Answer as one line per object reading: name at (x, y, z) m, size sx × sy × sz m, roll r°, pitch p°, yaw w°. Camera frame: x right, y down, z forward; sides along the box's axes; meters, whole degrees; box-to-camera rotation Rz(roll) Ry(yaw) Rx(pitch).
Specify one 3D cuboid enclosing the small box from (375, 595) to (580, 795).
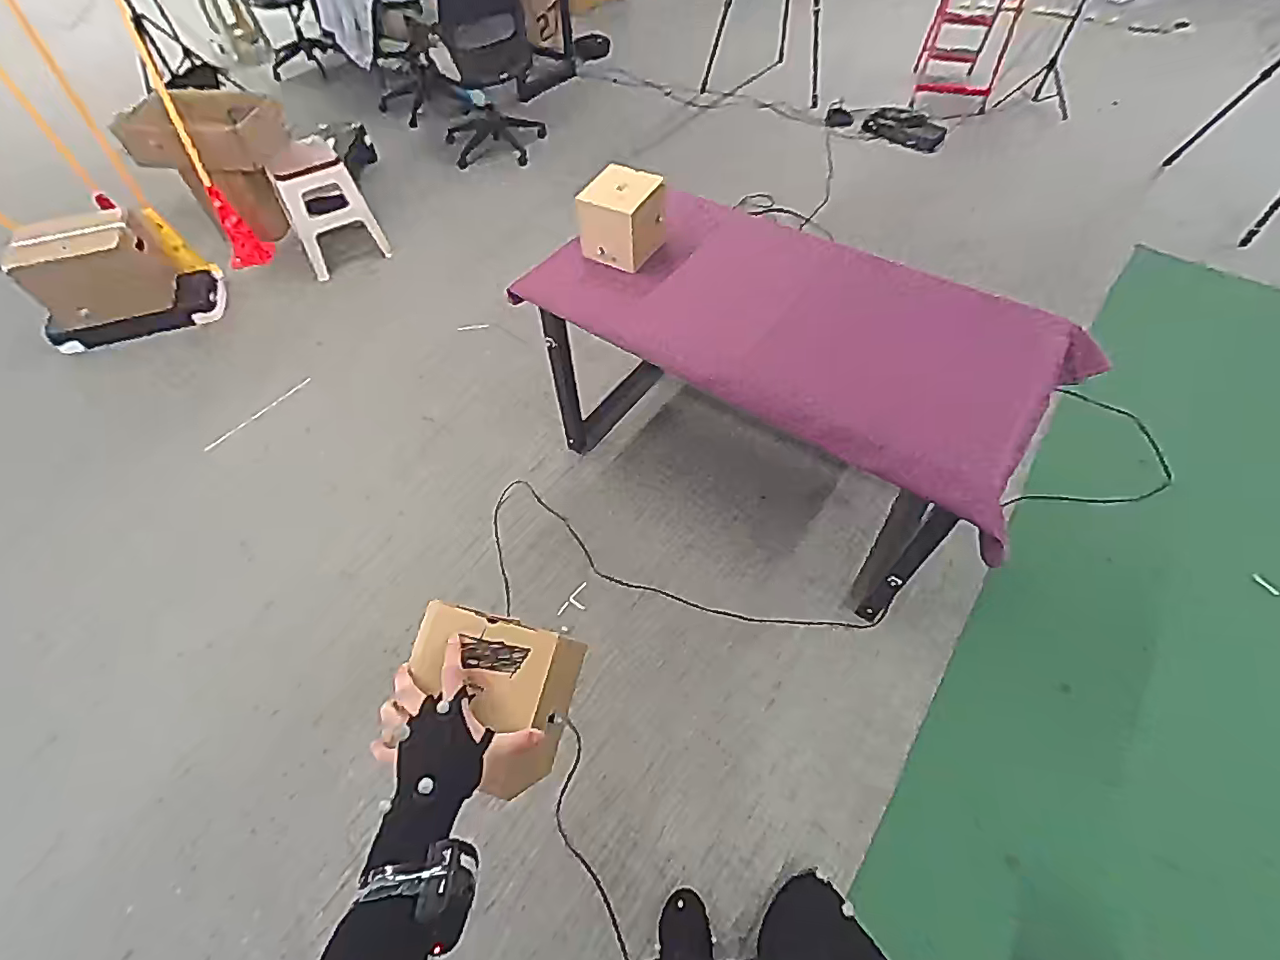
small box at (-0.185, 0.259, 0.681) m, size 0.168 × 0.176 × 0.179 m, roll 13°, pitch 74°, yaw 12°

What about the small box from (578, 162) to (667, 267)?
small box at (-0.041, -0.696, 1.419) m, size 0.168 × 0.176 × 0.179 m, roll 25°, pitch 61°, yaw 19°
